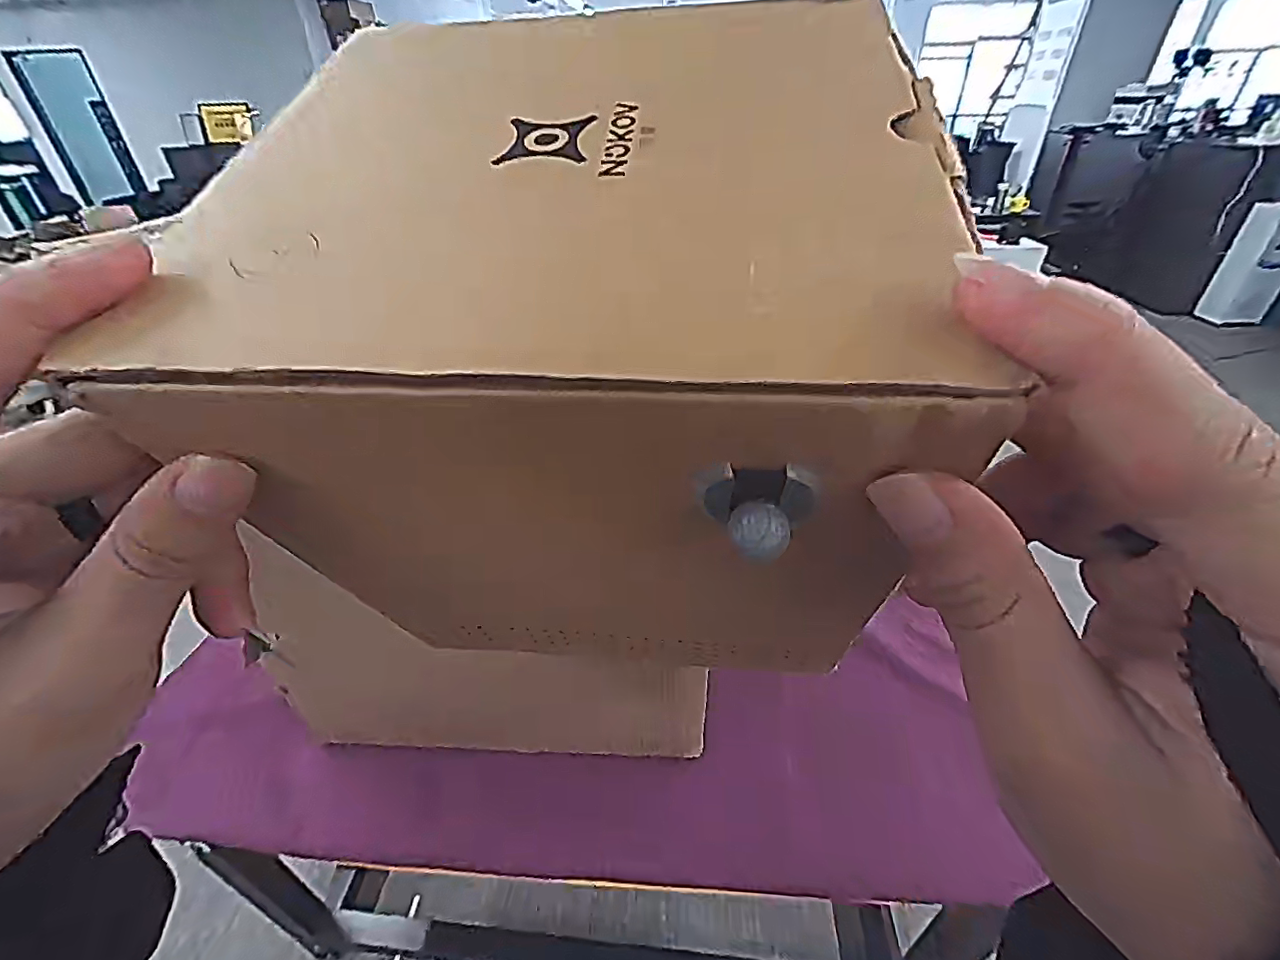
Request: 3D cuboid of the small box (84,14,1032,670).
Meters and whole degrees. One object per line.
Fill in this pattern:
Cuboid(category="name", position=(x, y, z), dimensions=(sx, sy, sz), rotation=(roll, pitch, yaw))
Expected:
Cuboid(category="small box", position=(-0.009, -0.036, 0.203), dimensions=(0.179, 0.176, 0.168), rotation=(2, 57, 7))
